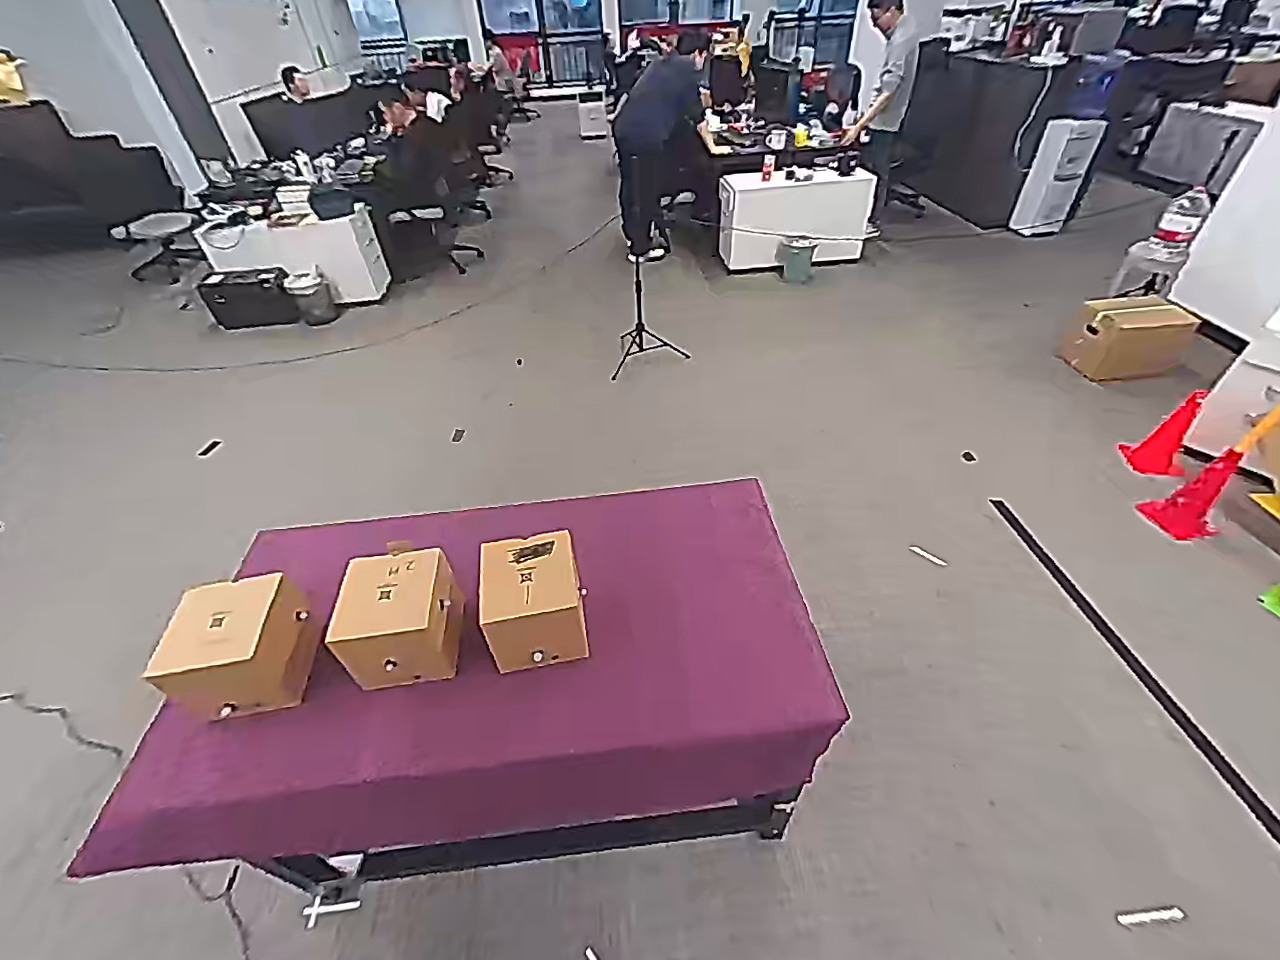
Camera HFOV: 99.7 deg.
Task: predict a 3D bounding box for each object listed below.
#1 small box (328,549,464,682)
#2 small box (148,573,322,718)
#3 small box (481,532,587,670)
[{"bbox_3d":[-0.434,0.254,0.998,0.168,0.176,0.179,-7,42,-4],"label":"small box"},{"bbox_3d":[-0.704,0.296,0.970,0.168,0.176,0.179,-8,42,-5],"label":"small box"},{"bbox_3d":[-0.195,0.227,1.015,0.168,0.176,0.179,-9,43,-6],"label":"small box"}]
